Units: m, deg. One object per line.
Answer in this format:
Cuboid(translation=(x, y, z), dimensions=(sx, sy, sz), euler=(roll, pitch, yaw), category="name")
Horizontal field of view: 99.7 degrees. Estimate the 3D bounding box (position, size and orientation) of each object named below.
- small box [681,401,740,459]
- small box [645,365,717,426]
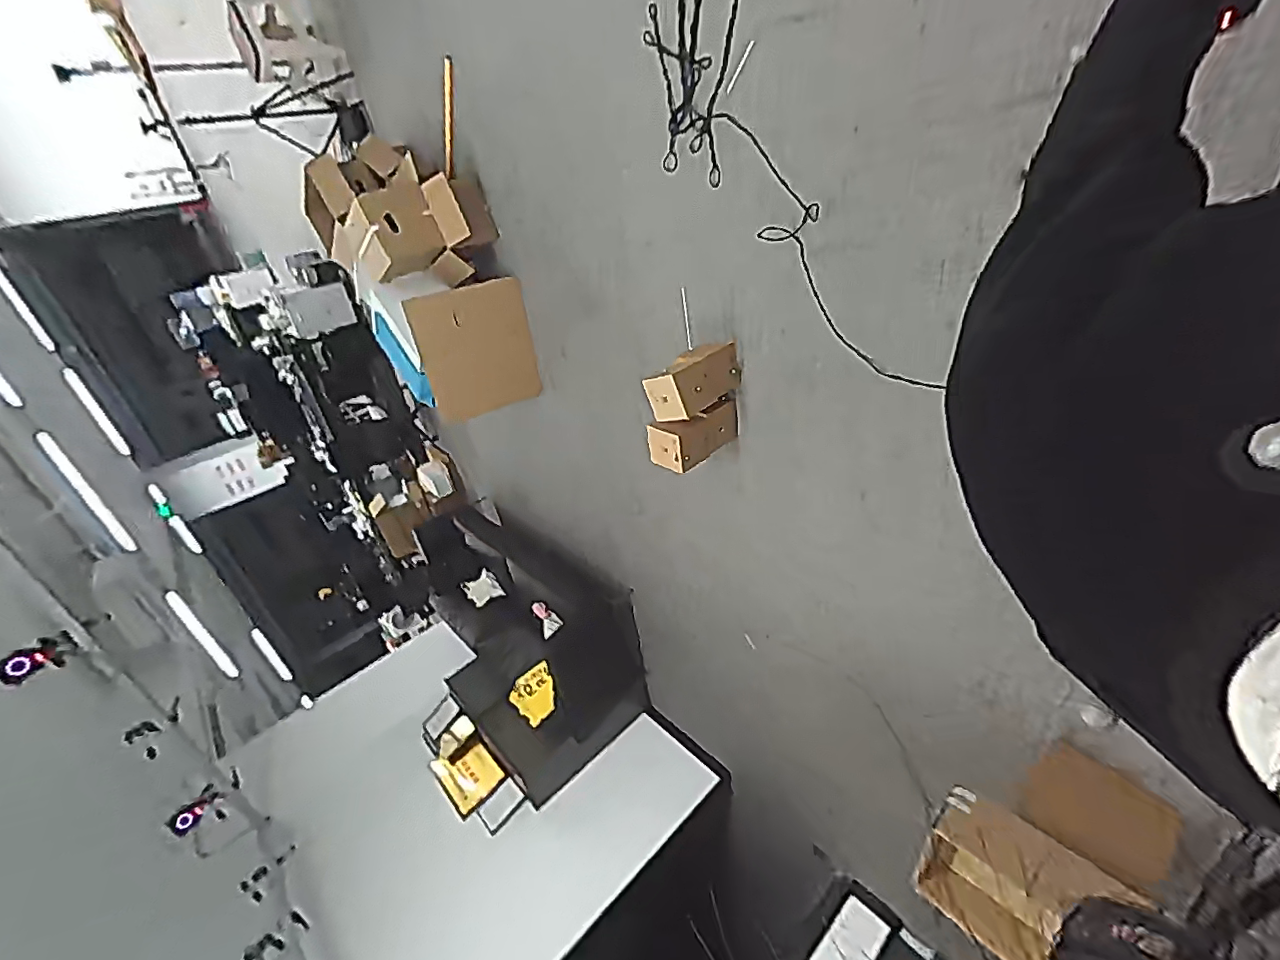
Cuboid(translation=(0.284, -0.212, 2.168), dimensions=(0.168, 0.176, 0.179), euler=(24, 135, 44), category="small box")
Cuboid(translation=(0.156, -0.306, 1.954), dimensions=(0.179, 0.176, 0.168), euler=(3, 119, 54), category="small box")
